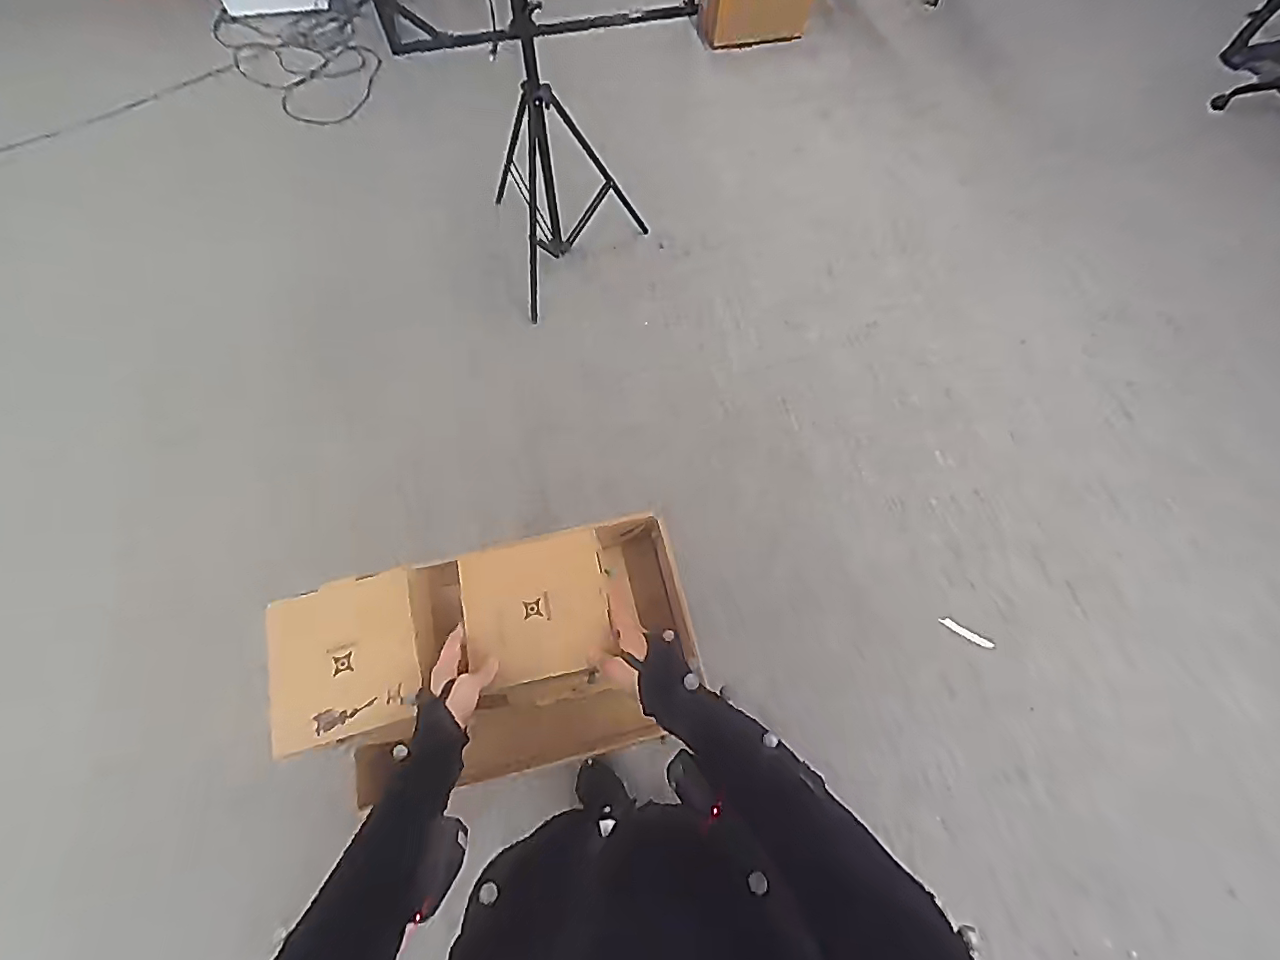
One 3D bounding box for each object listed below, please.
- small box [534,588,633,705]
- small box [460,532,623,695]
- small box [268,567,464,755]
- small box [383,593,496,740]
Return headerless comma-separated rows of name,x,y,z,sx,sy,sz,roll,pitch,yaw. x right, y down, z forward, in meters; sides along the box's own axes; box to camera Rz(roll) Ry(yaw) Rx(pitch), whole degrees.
small box,-0.109,0.318,1.020,0.168,0.176,0.179,-12,69,-2
small box,-0.122,0.182,0.723,0.179,0.176,0.168,-12,69,-1
small box,-0.340,0.233,0.693,0.168,0.176,0.179,-15,67,-6
small box,-0.336,0.296,0.847,0.168,0.176,0.179,-15,69,-7
